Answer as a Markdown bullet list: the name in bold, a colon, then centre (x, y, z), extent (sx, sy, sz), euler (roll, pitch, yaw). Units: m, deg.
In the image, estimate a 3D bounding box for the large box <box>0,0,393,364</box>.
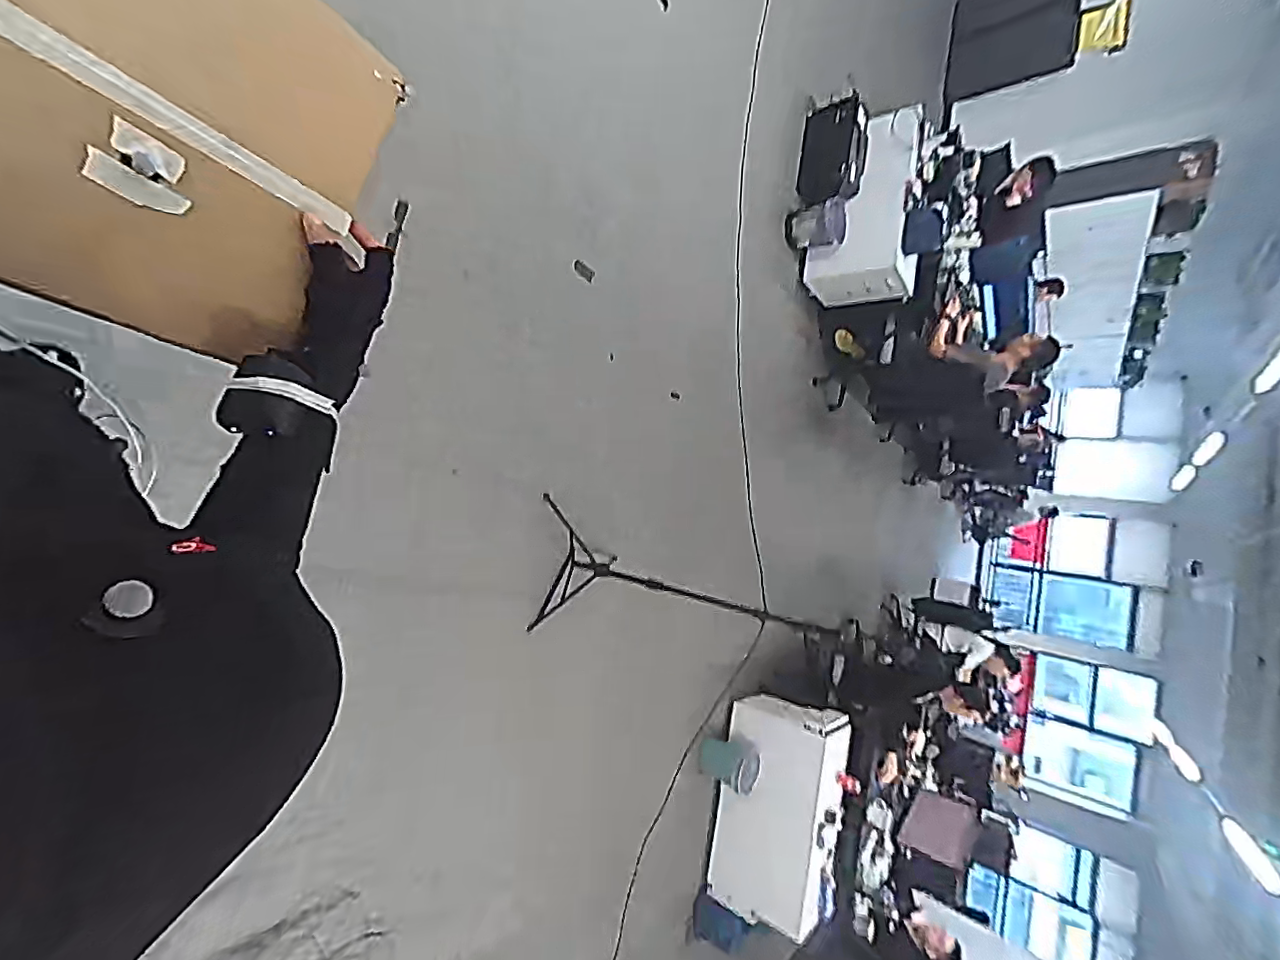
- **large box**: centre (-0.514, -0.331, 0.458), extent (0.408, 0.320, 0.320), euler (23, 87, -51)
